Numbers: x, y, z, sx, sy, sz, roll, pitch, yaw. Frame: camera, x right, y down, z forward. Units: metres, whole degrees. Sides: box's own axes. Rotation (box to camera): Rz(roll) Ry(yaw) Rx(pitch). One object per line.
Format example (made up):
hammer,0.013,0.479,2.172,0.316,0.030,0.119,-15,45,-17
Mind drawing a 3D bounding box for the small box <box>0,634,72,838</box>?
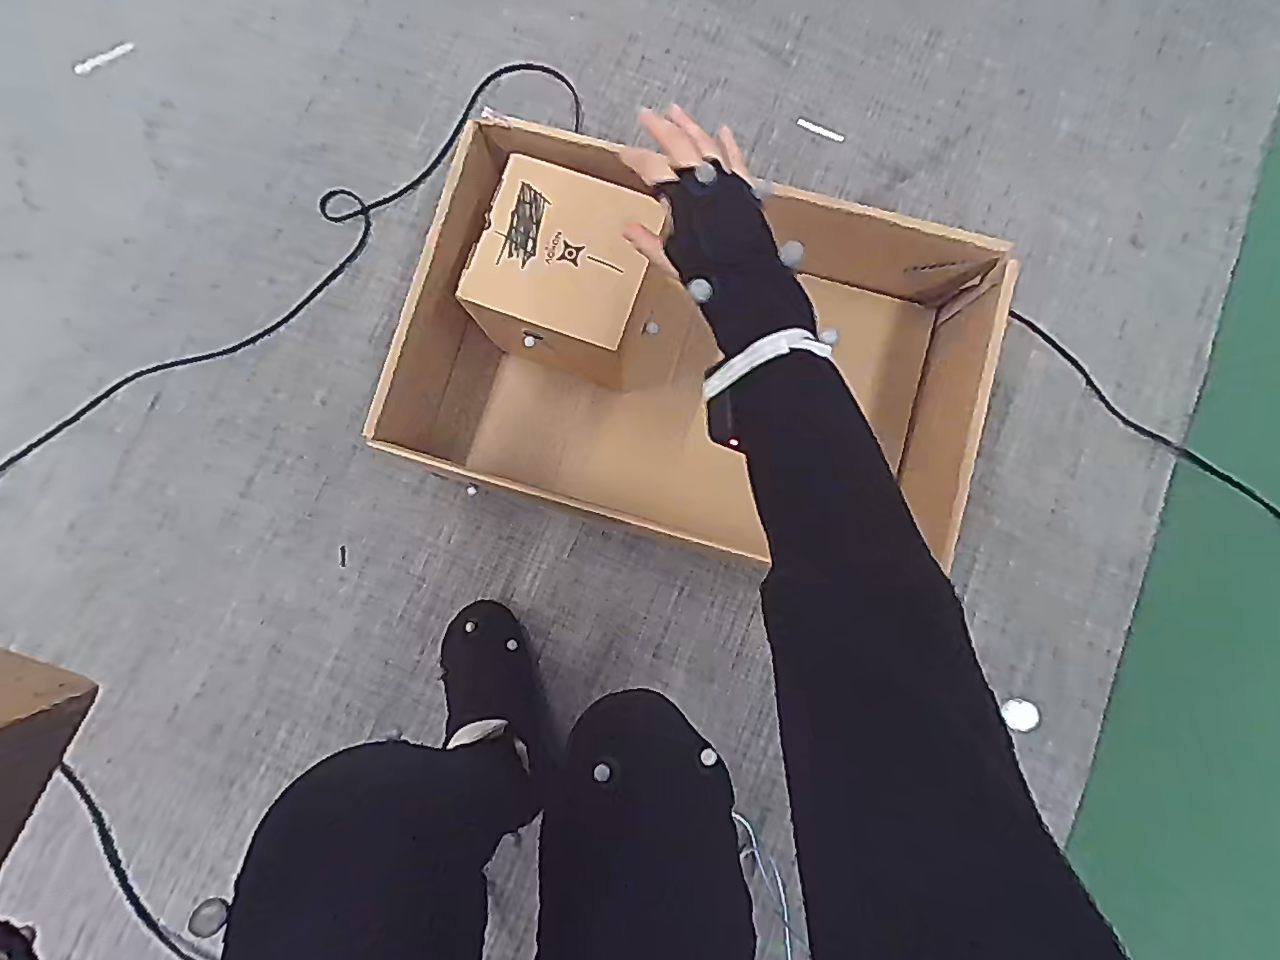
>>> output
small box,-0.347,0.128,0.155,0.168,0.176,0.179,26,81,-9
